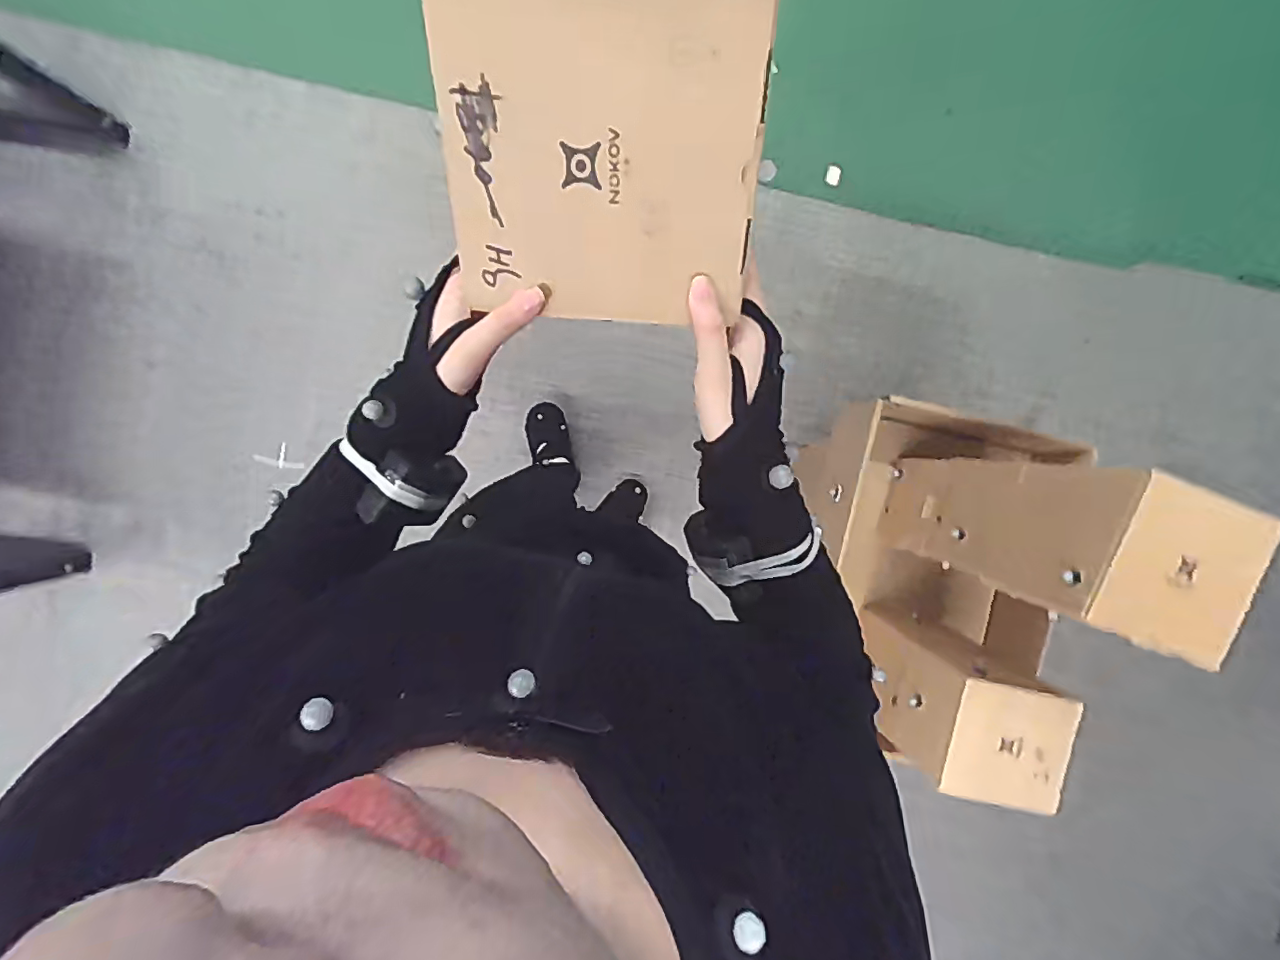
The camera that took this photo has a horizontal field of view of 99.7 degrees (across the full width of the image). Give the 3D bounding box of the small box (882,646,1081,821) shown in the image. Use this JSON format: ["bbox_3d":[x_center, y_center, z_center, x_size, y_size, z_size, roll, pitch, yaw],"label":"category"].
[{"bbox_3d":[0.500,0.369,0.820,0.179,0.176,0.168,14,93,-3],"label":"small box"}]

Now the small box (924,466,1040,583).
[{"bbox_3d":[0.567,0.082,0.809,0.179,0.176,0.168,19,94,-4],"label":"small box"}]

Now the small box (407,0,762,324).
[{"bbox_3d":[-0.023,-0.213,0.365,0.179,0.176,0.168,5,121,5],"label":"small box"}]

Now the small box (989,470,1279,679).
[{"bbox_3d":[0.567,0.097,0.647,0.168,0.176,0.179,22,95,-4],"label":"small box"}]
